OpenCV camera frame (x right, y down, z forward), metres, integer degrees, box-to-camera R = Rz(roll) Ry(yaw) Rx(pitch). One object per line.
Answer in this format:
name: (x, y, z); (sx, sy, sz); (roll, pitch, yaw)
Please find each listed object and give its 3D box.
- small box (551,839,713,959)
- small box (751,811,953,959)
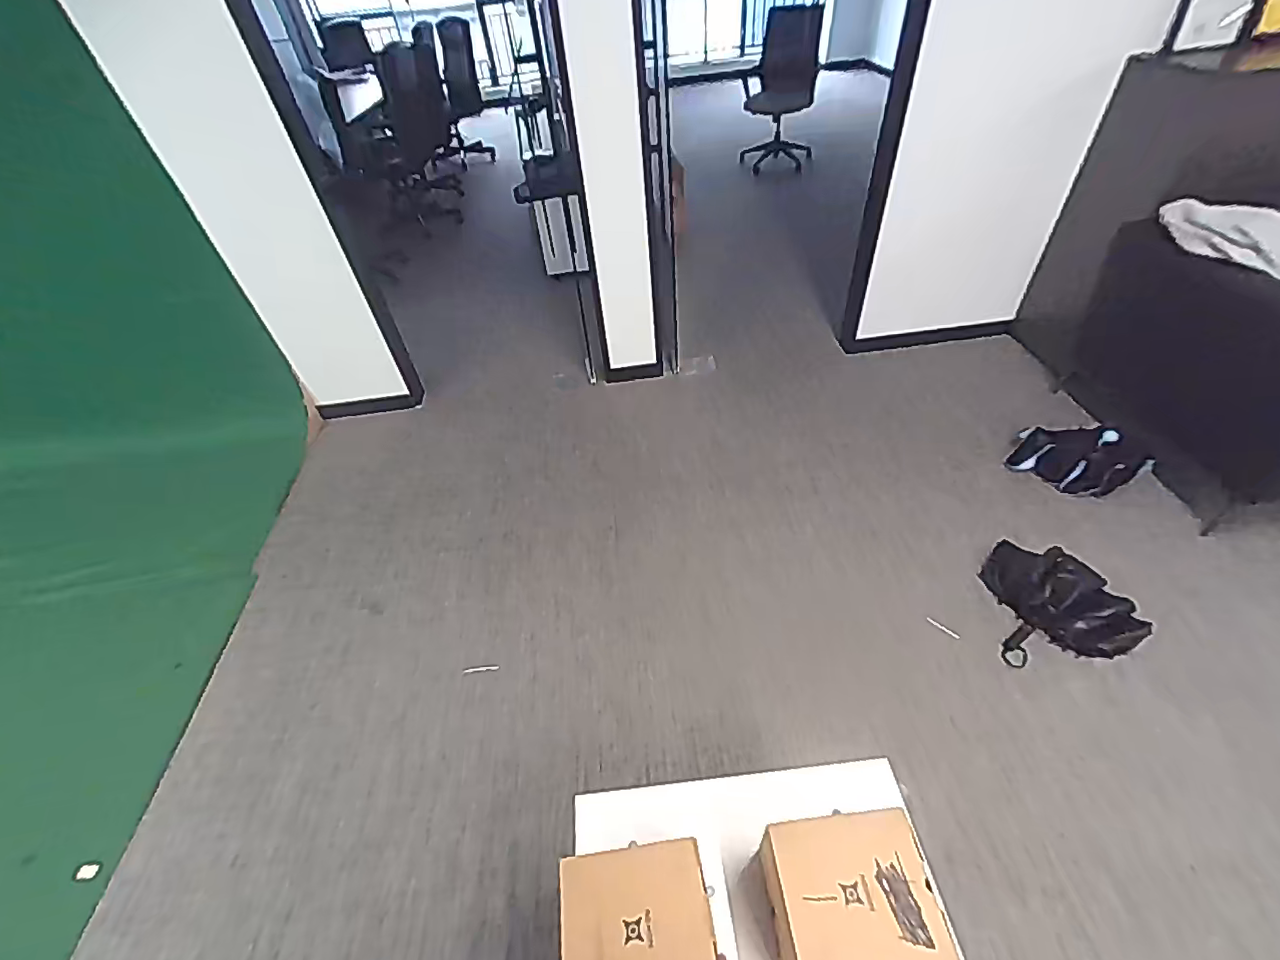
small box: (-0.009, 0.565, 0.656); (0.179, 0.176, 0.168); (-7, 41, -4)
small box: (0.247, 0.534, 0.675); (0.179, 0.176, 0.168); (-6, 45, -1)
